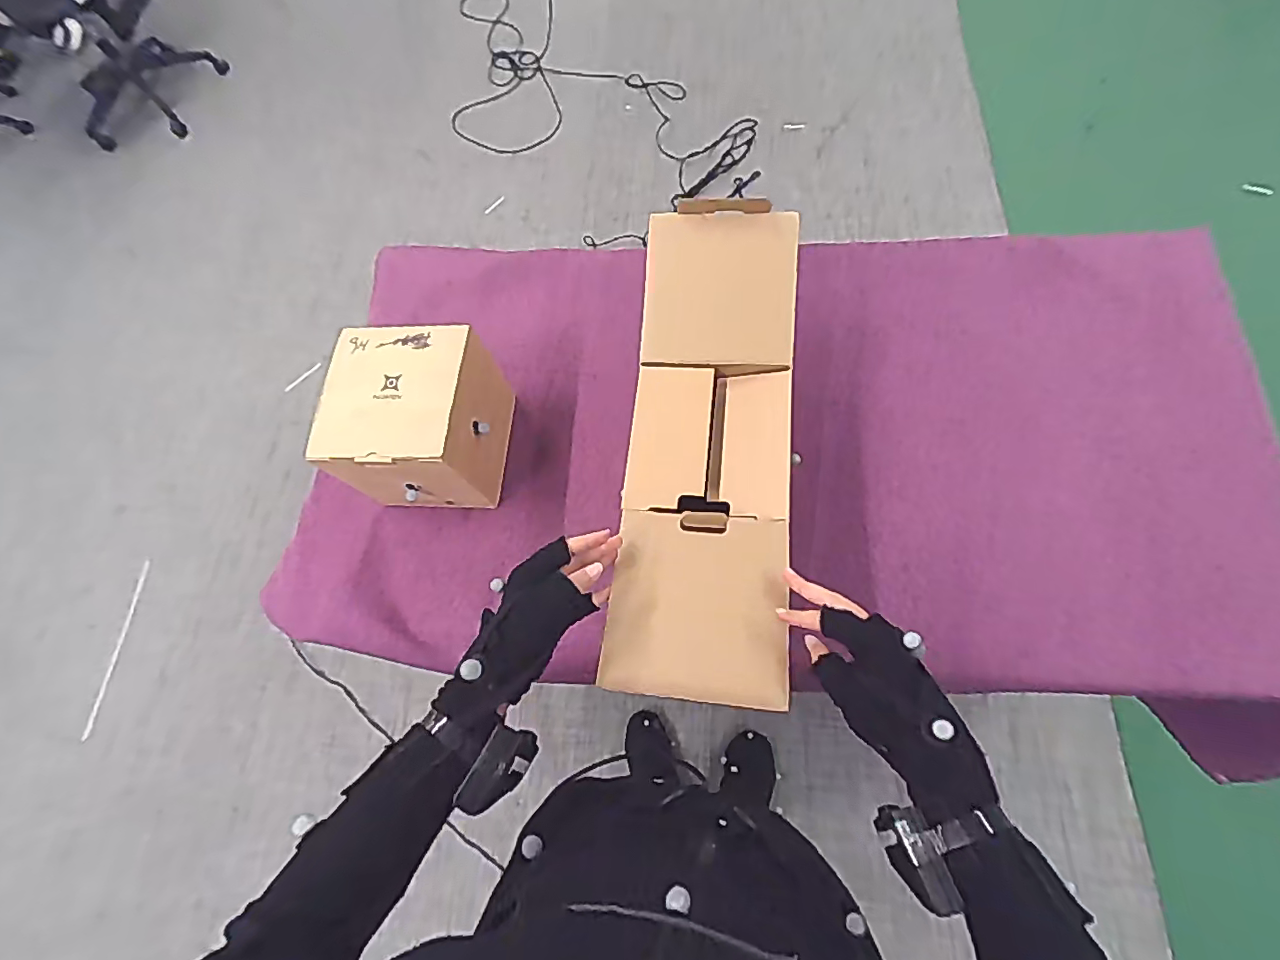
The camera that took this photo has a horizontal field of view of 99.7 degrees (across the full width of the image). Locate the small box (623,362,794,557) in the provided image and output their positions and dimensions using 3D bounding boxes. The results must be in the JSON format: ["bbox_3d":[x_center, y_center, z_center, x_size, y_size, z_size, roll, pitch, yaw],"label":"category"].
[{"bbox_3d":[0.083,-0.015,0.626,0.168,0.176,0.179,4,69,9],"label":"small box"}]

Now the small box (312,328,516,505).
[{"bbox_3d":[-0.271,-0.072,0.694,0.168,0.176,0.179,1,70,8],"label":"small box"}]
